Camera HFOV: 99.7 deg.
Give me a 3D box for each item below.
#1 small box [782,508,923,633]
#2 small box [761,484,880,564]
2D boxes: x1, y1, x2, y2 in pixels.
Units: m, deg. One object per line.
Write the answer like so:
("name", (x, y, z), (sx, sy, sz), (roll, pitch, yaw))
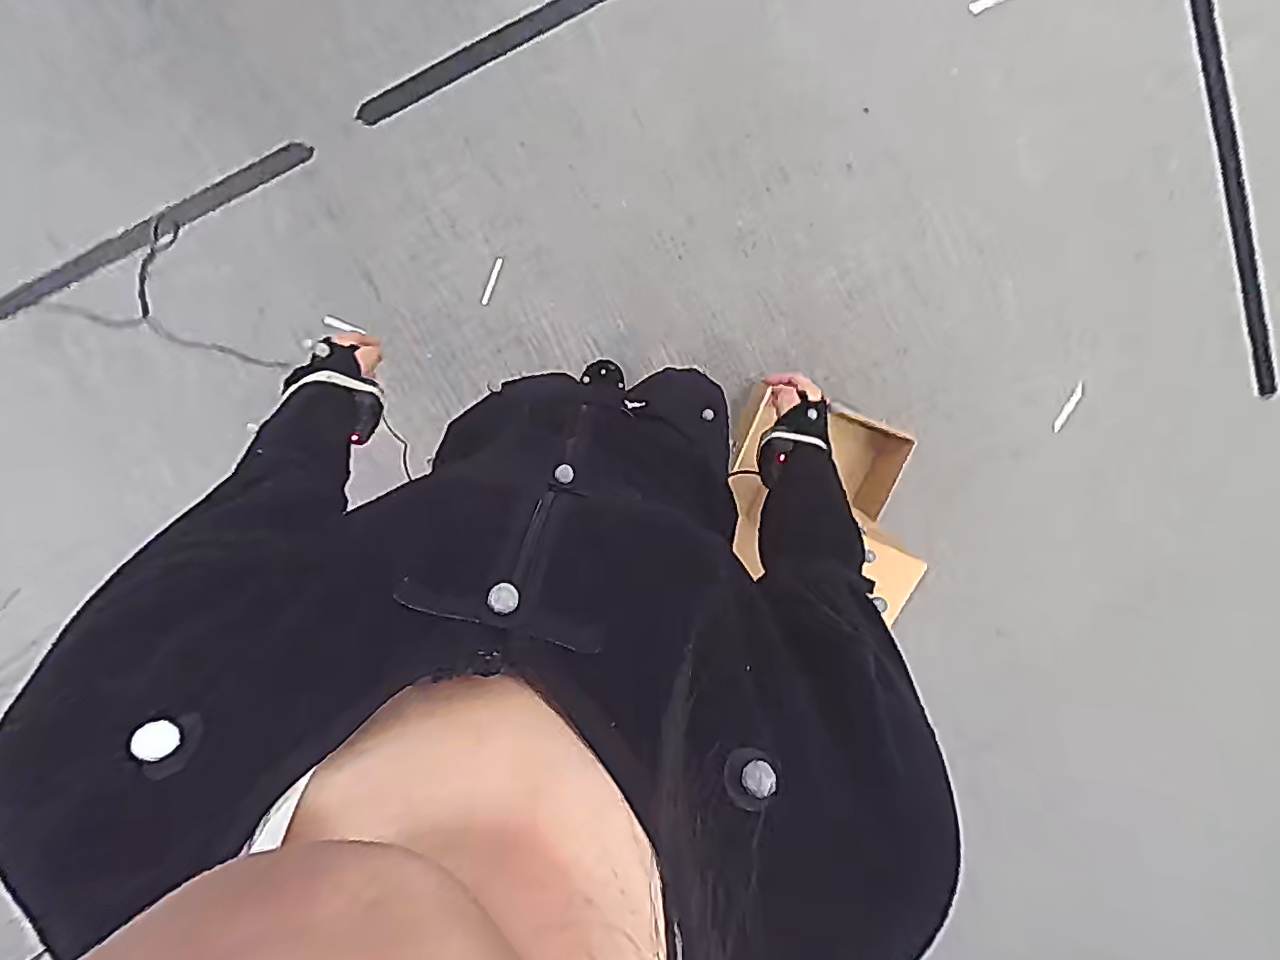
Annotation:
("small box", (0.421, 0.175, 1.101), (0.179, 0.176, 0.168), (23, 103, -9))
("small box", (0.407, 0.123, 1.255), (0.179, 0.176, 0.168), (24, 103, -9))
